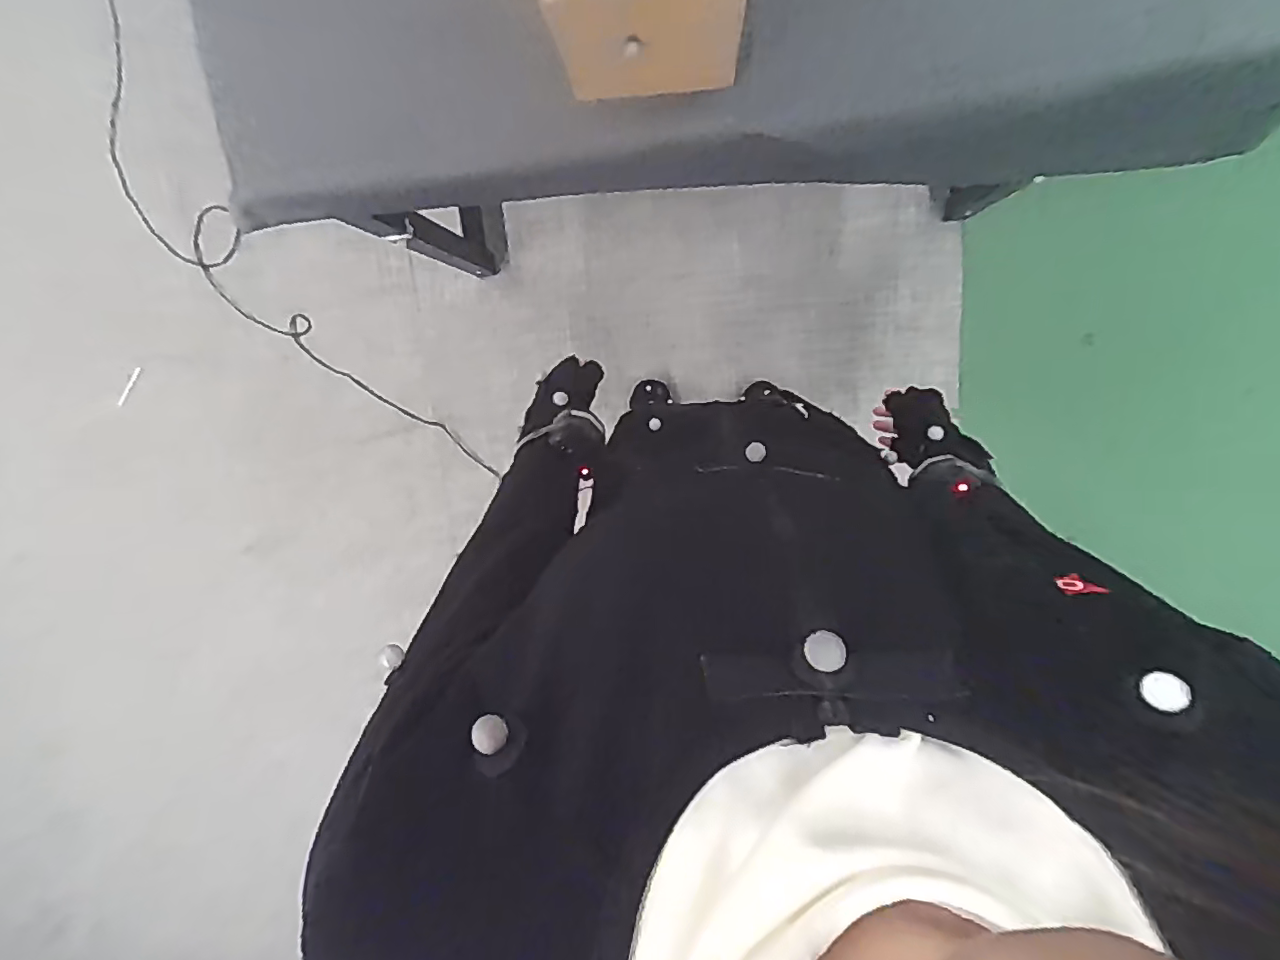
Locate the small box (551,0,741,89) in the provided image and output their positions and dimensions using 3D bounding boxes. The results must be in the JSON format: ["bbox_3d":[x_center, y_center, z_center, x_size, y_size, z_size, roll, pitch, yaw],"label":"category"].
[{"bbox_3d":[0.008,-0.501,0.509,0.179,0.176,0.168,0,101,5],"label":"small box"}]
